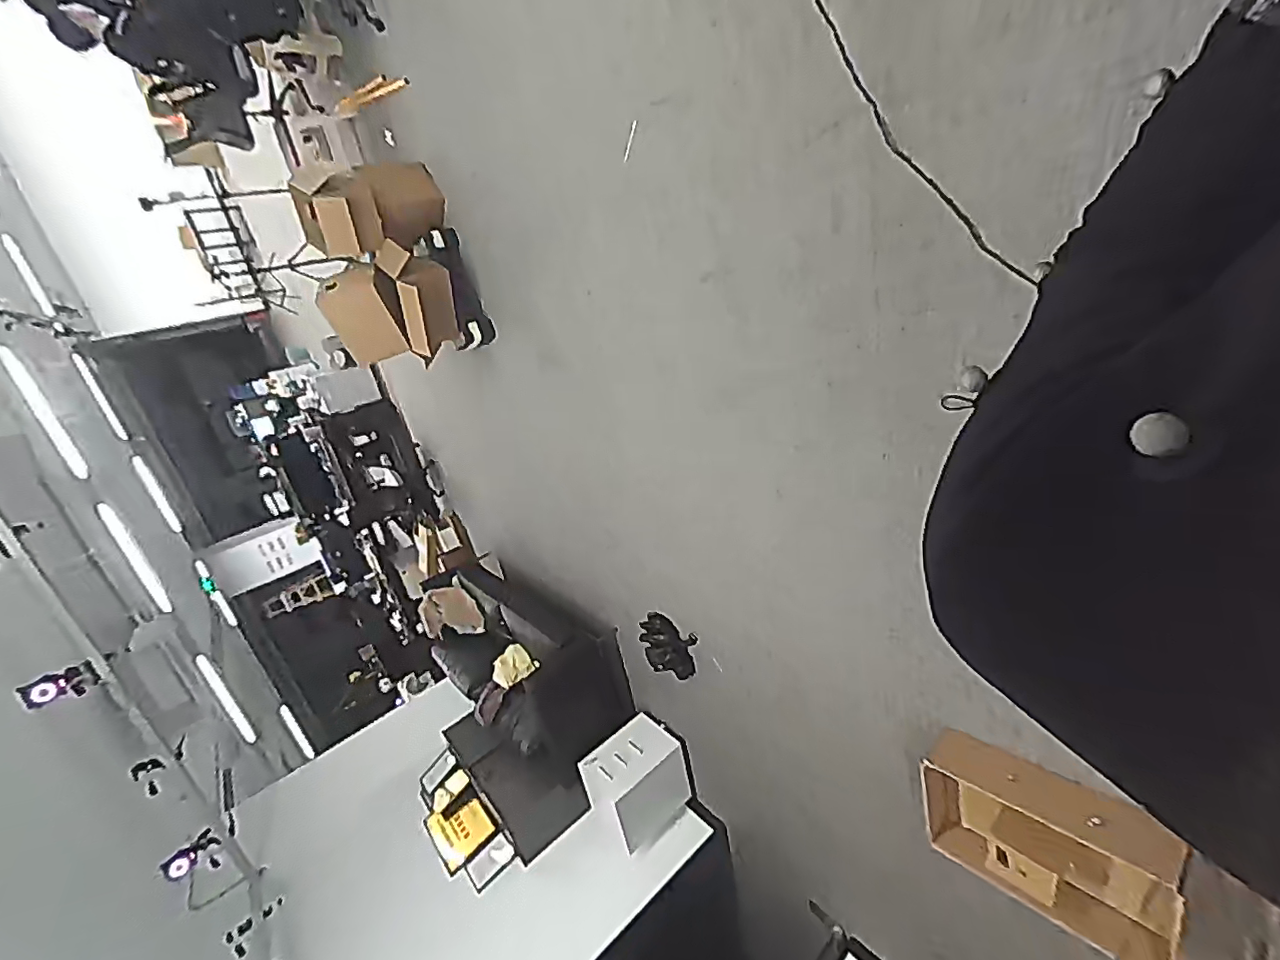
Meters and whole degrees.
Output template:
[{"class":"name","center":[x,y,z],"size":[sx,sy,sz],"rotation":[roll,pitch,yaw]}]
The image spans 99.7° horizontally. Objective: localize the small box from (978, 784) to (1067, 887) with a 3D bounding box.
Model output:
[{"class":"small box","center":[1.177,1.081,1.666],"size":[0.179,0.176,0.168],"rotation":[17,127,46]}]
